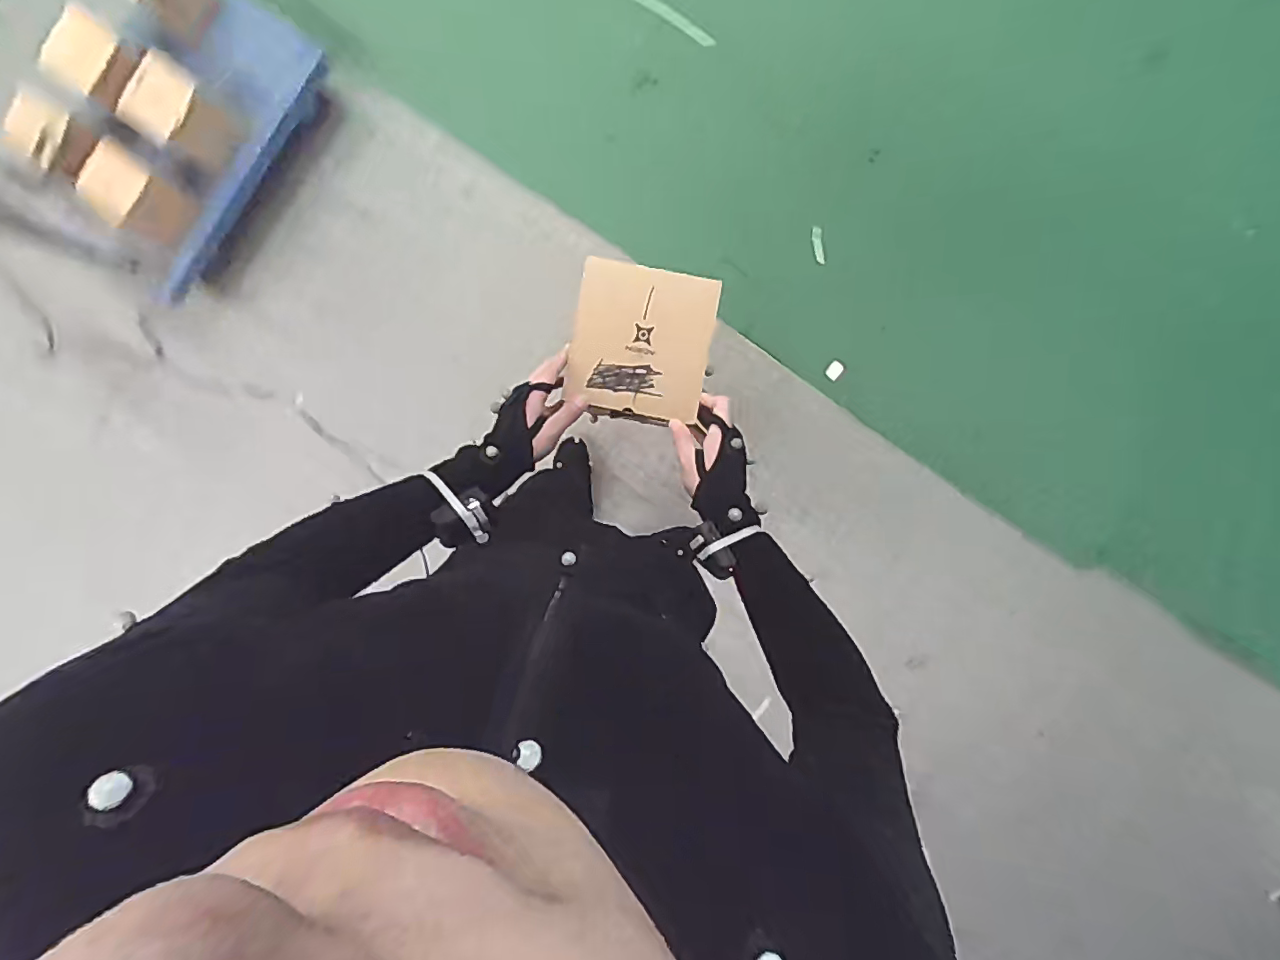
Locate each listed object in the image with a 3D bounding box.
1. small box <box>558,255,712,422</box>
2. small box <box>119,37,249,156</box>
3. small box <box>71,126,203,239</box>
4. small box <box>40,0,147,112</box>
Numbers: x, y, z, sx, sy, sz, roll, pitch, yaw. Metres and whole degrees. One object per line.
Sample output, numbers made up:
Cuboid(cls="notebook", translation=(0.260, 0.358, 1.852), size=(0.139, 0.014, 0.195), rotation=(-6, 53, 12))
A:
Cuboid(cls="small box", translation=(-0.008, -0.178, 0.736), size=(0.168, 0.176, 0.179), rotation=(9, 94, -3))
Cuboid(cls="small box", translation=(-1.214, -1.016, 1.455), size=(0.179, 0.176, 0.168), rotation=(38, 93, 3))
Cuboid(cls="small box", translation=(-1.359, -0.800, 1.475), size=(0.168, 0.176, 0.179), rotation=(40, 93, 2))
Cuboid(cls="small box", translation=(-1.437, -1.159, 1.473), size=(0.179, 0.176, 0.168), rotation=(38, 94, 1))
